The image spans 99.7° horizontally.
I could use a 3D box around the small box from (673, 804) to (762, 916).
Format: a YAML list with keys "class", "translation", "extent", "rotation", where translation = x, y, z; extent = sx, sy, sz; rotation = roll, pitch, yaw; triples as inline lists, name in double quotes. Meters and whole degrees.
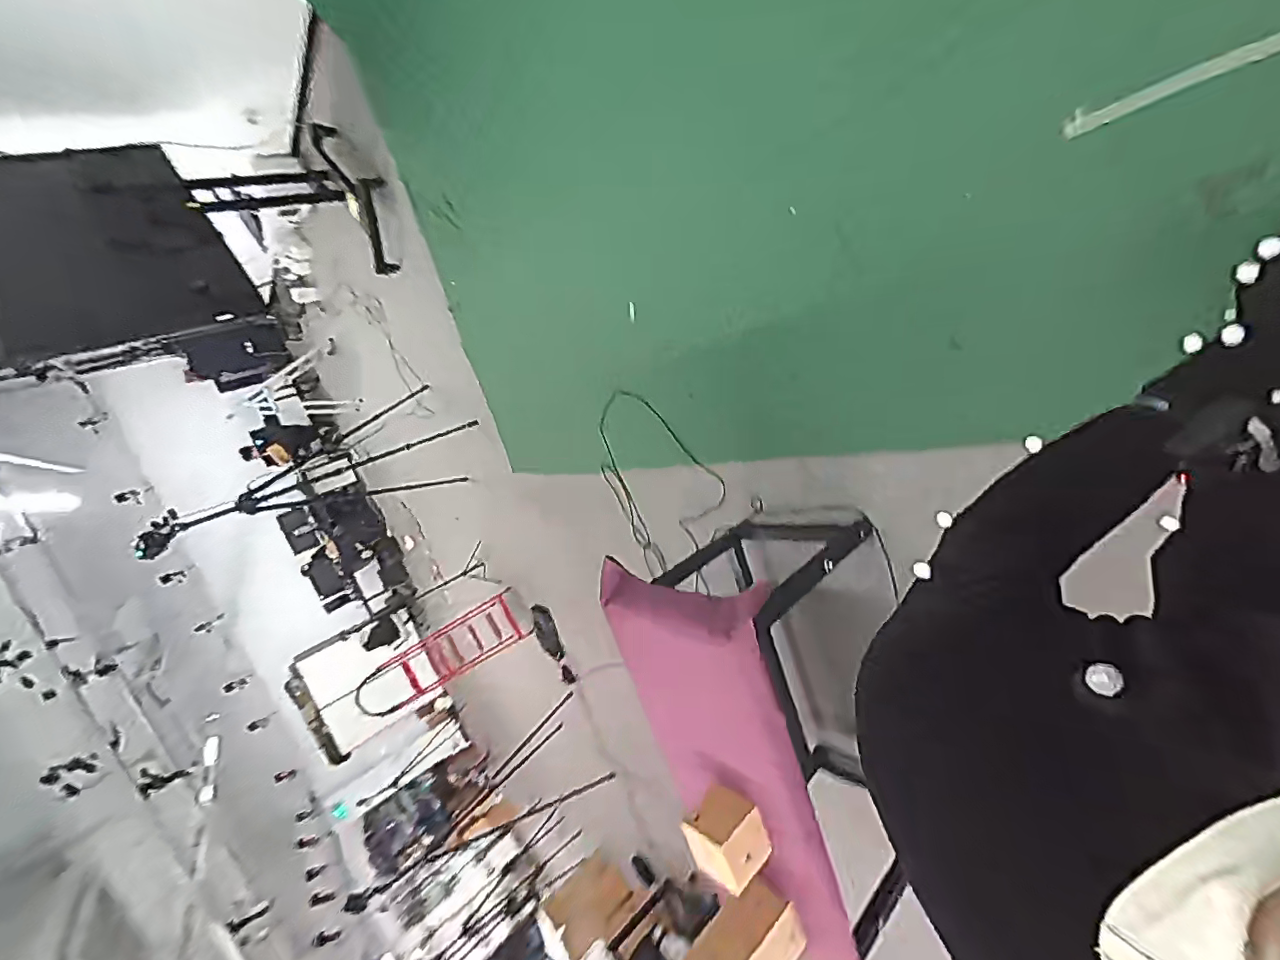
- class: "small box"
  translation: [0.232, 1.088, 1.569]
  extent: [0.179, 0.176, 0.168]
  rotation: [-6, 106, 54]

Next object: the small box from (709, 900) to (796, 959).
- class: "small box"
  translation: [0.344, 1.425, 1.630]
  extent: [0.179, 0.176, 0.168]
  rotation: [-8, 105, 52]
